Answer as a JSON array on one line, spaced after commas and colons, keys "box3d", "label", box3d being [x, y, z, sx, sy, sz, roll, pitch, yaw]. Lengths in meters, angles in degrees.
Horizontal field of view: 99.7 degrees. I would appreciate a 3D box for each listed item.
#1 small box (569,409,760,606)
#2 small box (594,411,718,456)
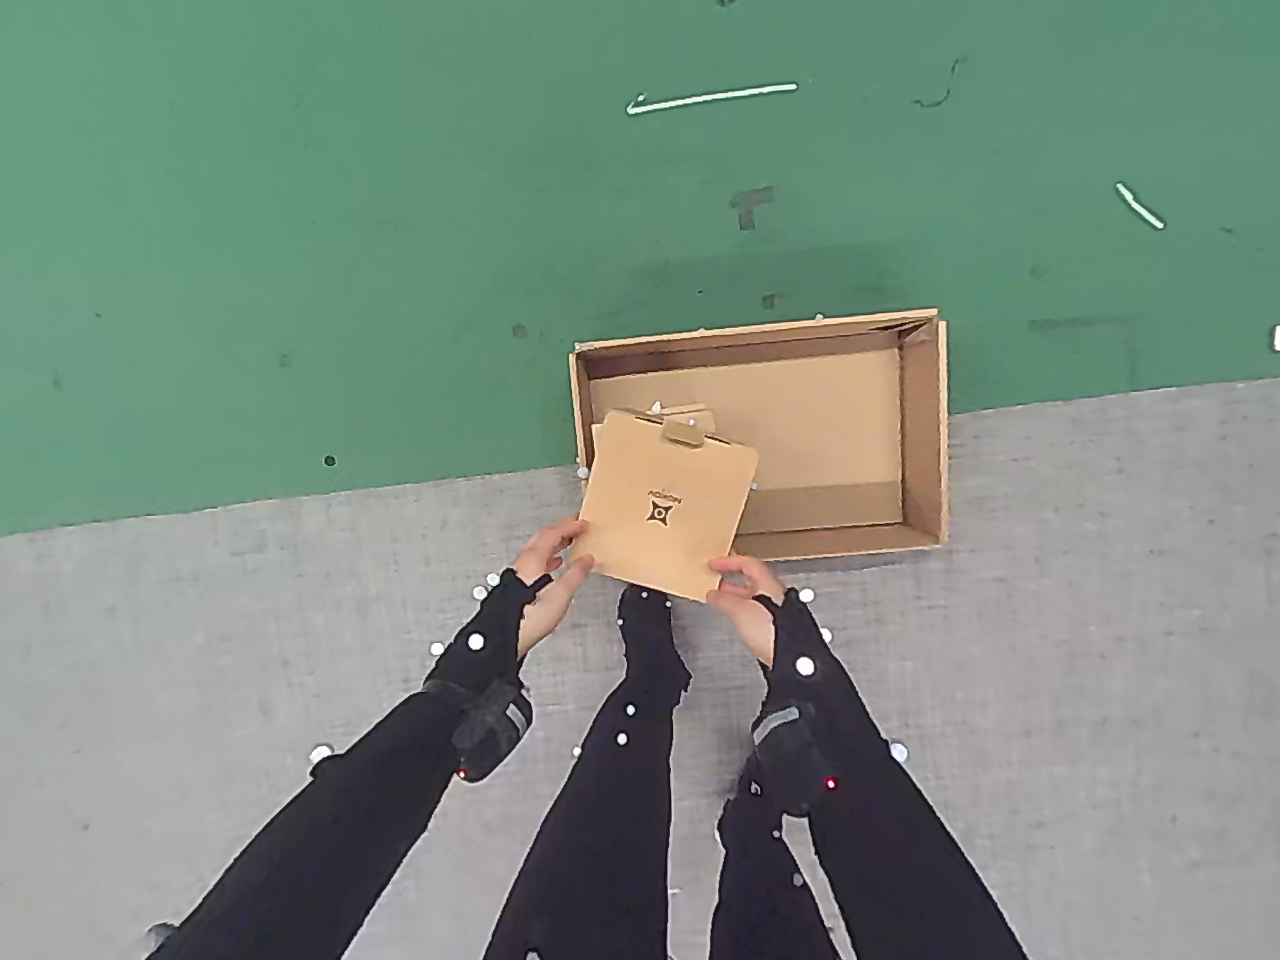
[{"box3d": [0.028, 0.021, 0.645, 0.168, 0.176, 0.179, 16, 97, 0], "label": "small box"}, {"box3d": [0.031, -0.008, 0.805, 0.168, 0.176, 0.179, -6, 97, 3], "label": "small box"}]
